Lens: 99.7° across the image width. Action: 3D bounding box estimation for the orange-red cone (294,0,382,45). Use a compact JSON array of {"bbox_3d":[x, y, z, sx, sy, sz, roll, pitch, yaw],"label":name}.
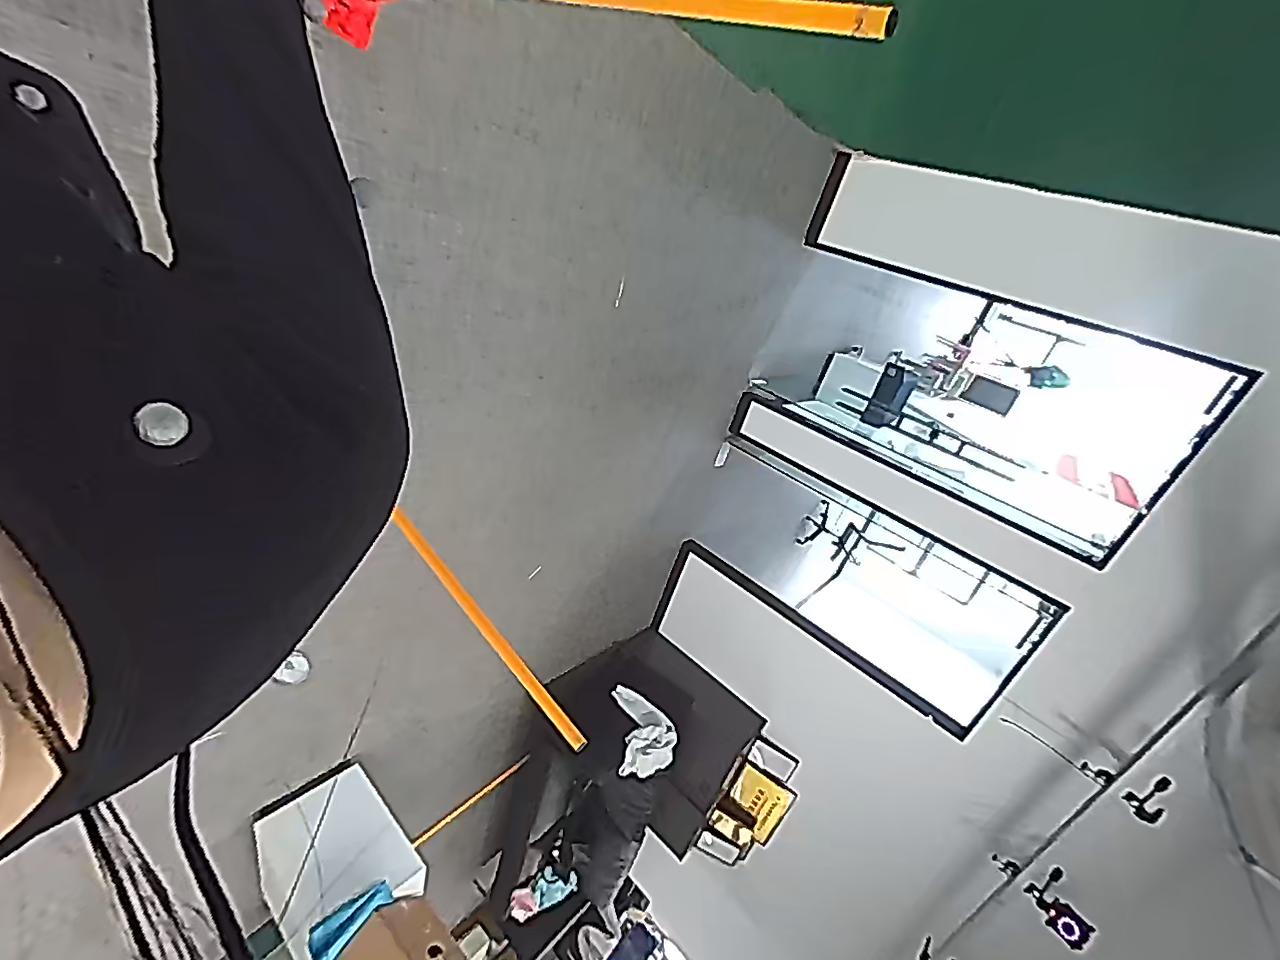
[{"bbox_3d":[-0.503,-0.965,1.020,0.198,0.360,0.199,3,117,-56],"label":"orange-red cone"}]
